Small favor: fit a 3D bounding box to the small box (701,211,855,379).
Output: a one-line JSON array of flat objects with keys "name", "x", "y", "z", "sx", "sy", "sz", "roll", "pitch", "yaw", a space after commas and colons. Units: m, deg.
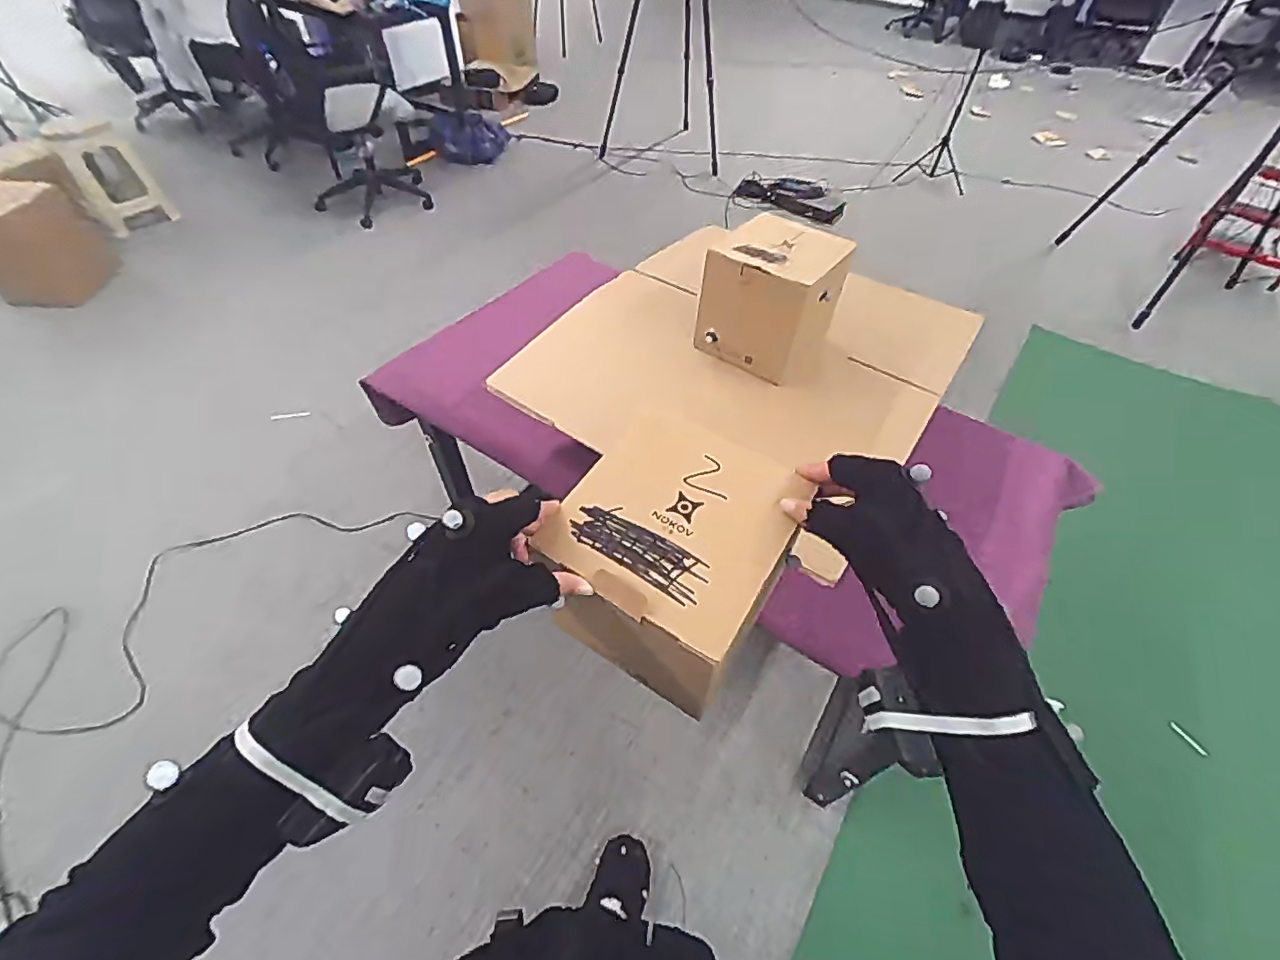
[{"name": "small box", "x": 0.209, "y": -0.290, "z": 0.856, "sx": 0.168, "sy": 0.176, "sz": 0.179, "roll": 29, "pitch": 55, "yaw": 19}]
